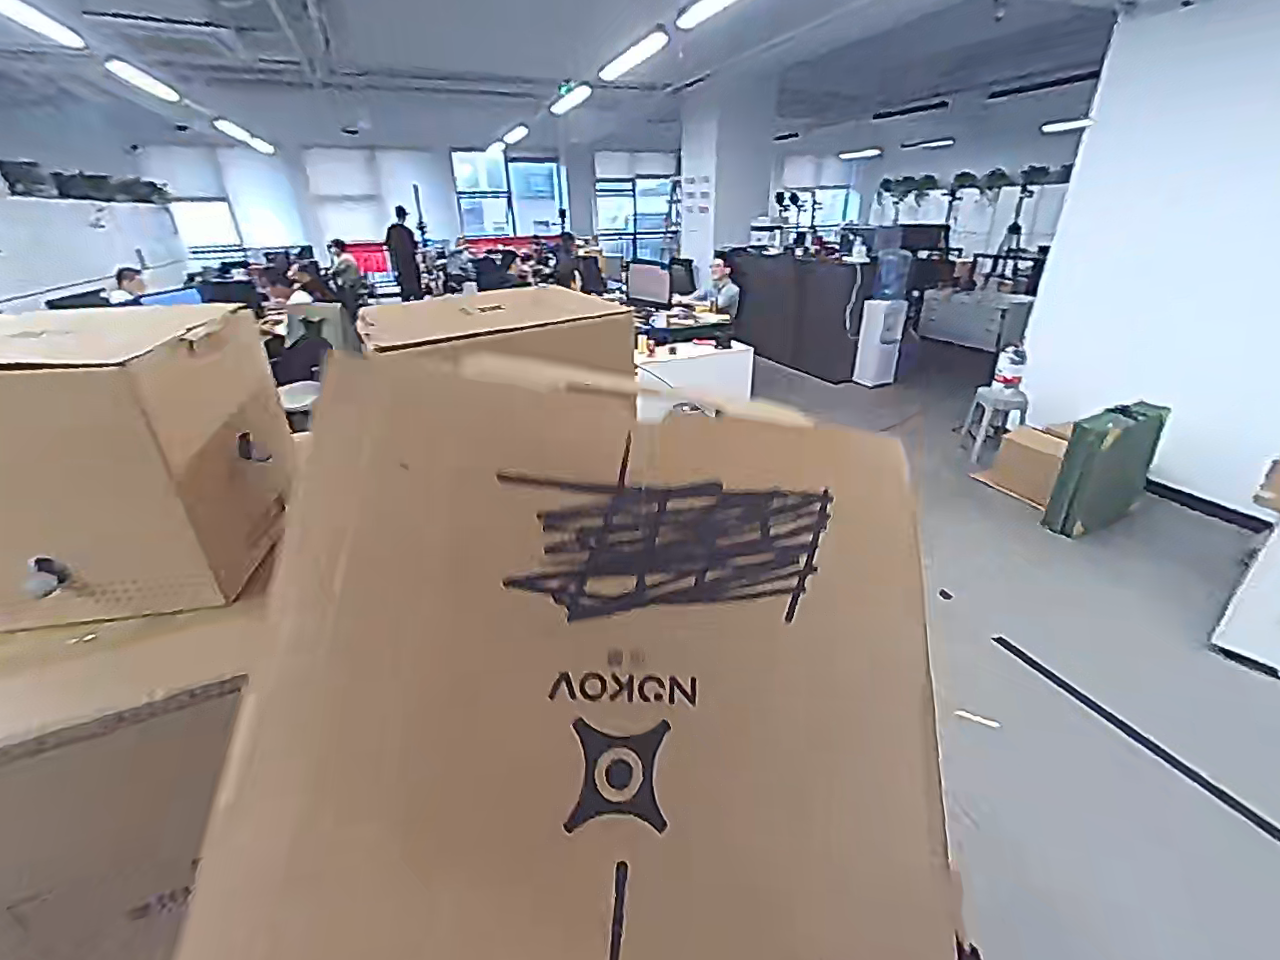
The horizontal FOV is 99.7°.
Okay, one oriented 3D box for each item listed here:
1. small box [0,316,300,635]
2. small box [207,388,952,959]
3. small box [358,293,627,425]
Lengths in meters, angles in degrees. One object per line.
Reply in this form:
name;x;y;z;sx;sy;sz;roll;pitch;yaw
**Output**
small box;-0.374;-0.011;0.380;0.179;0.176;0.168;-5;28;-11
small box;-0.018;0.091;0.208;0.168;0.176;0.179;7;70;-10
small box;-0.117;-0.053;0.454;0.179;0.176;0.168;-15;30;-23
